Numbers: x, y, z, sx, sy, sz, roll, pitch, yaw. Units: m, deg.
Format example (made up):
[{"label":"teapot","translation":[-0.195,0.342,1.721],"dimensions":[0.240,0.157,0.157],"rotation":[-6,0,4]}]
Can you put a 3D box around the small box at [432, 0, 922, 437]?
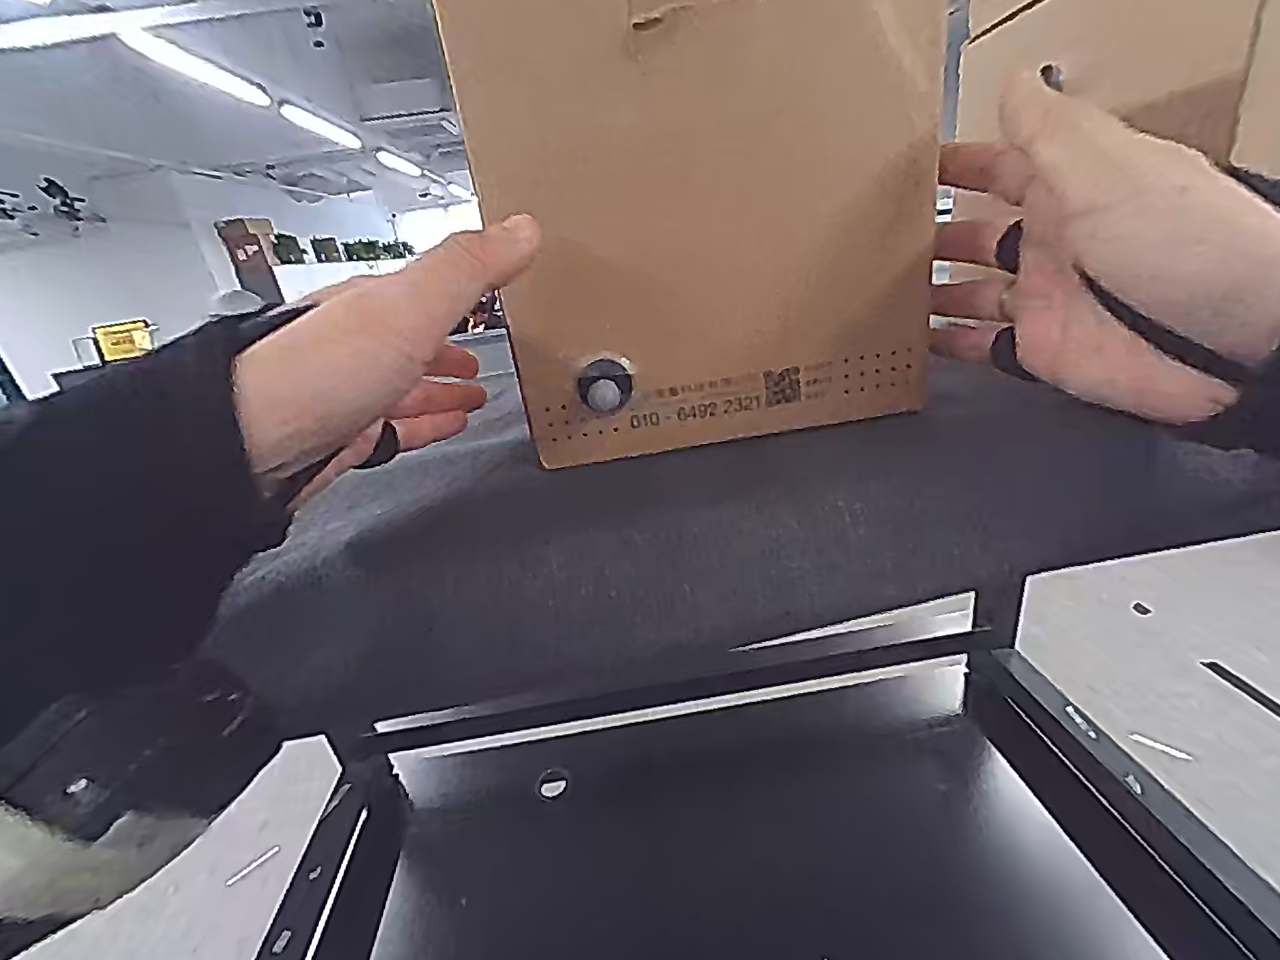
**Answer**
[{"label":"small box","translation":[0.021,-0.125,0.270],"dimensions":[0.168,0.176,0.179],"rotation":[-9,21,-1]}]

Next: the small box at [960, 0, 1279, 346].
[{"label":"small box","translation":[0.292,-0.171,0.276],"dimensions":[0.168,0.176,0.179],"rotation":[-10,23,0]}]
